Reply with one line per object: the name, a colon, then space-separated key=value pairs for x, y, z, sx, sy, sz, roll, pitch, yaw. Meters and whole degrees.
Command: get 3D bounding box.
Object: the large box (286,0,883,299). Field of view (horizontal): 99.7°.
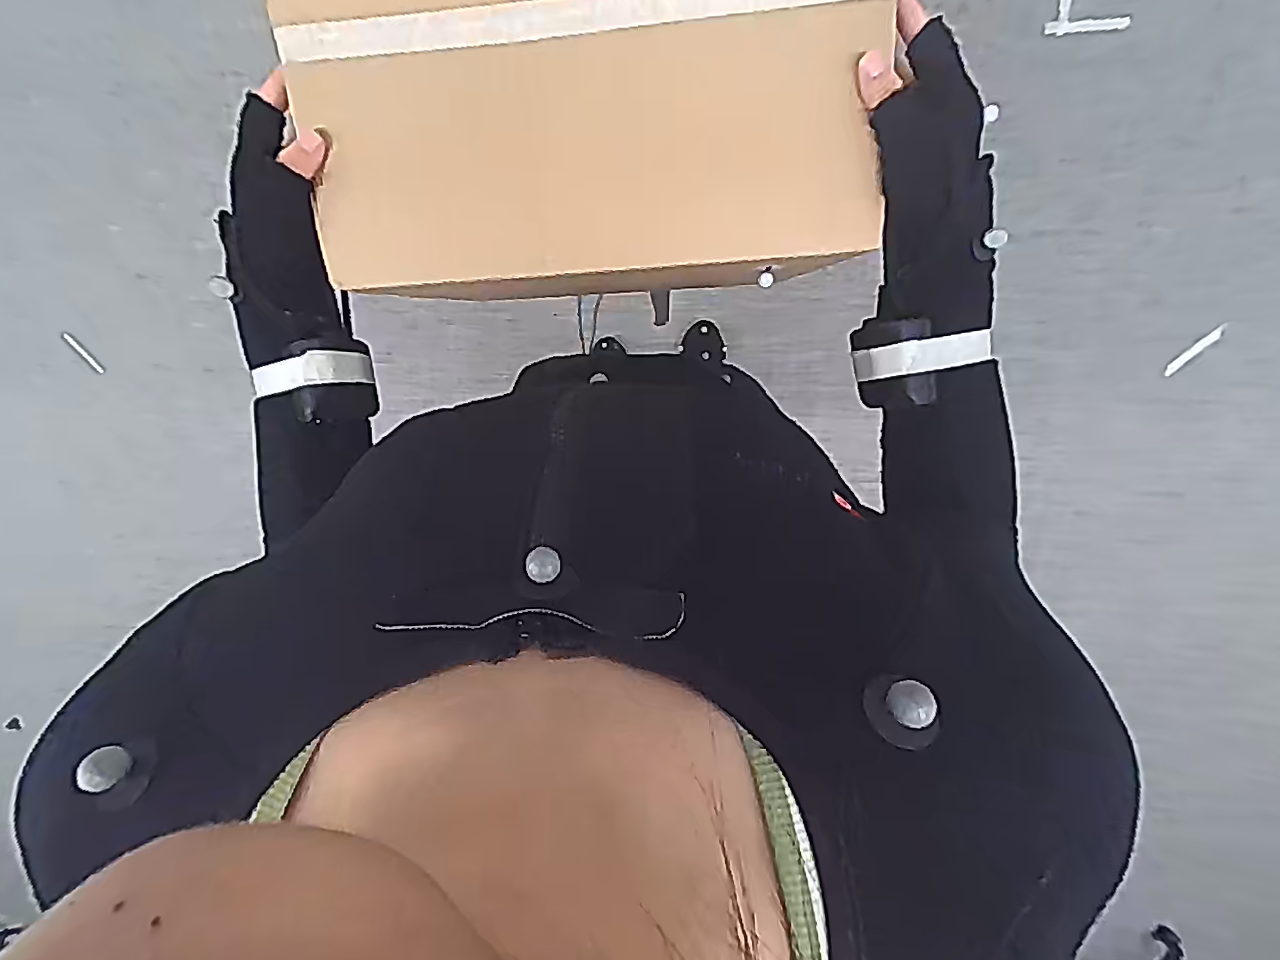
large box: x=-0.031 y=-0.347 z=0.504 sx=0.408 sy=0.320 sz=0.320 roll=-3 pitch=106 yaw=3
